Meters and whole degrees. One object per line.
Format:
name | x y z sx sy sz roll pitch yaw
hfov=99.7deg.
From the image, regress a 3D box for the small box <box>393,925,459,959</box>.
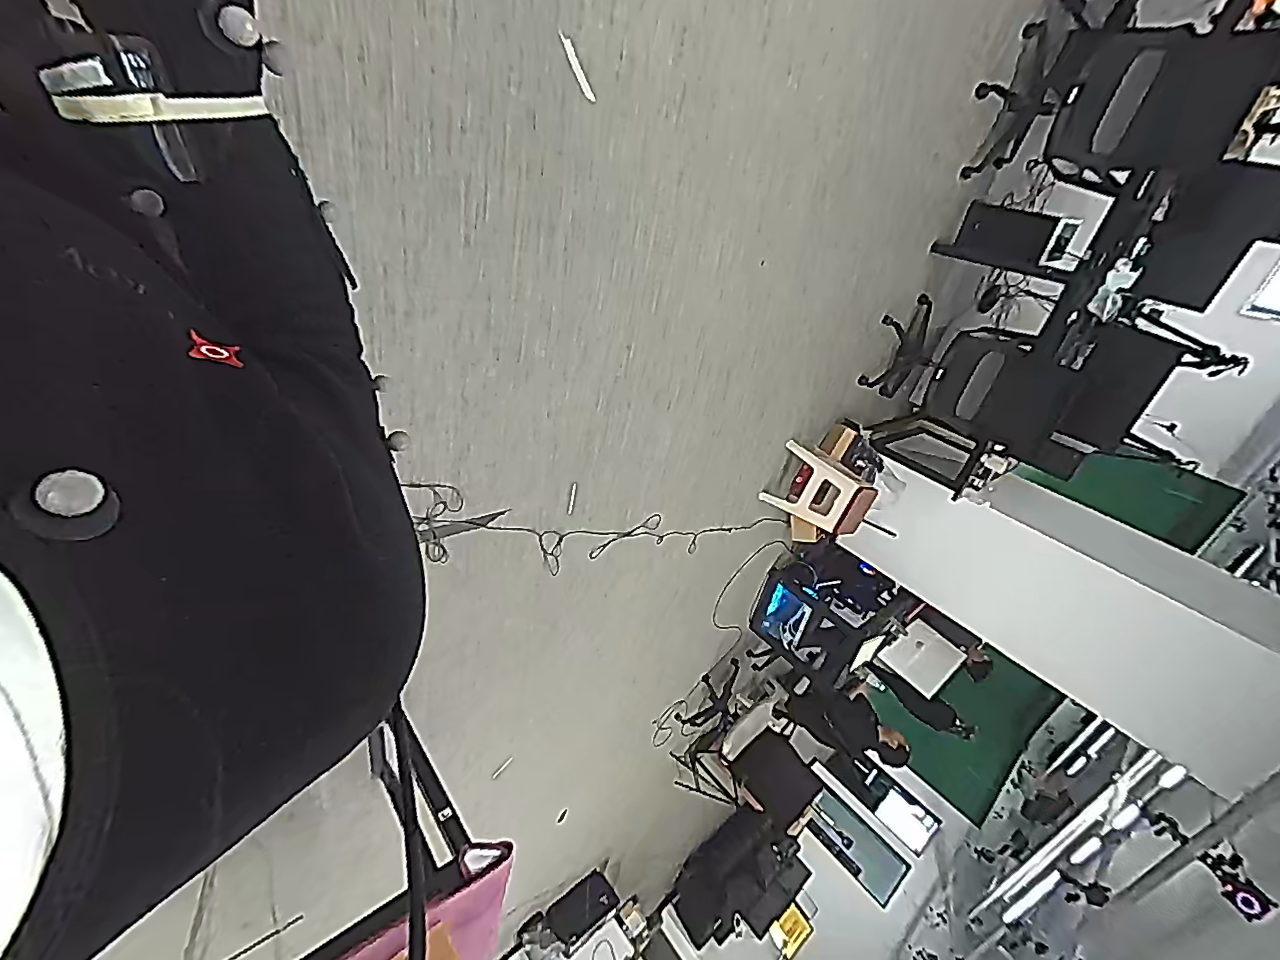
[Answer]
small box | -0.560 1.333 1.423 0.168 0.176 0.179 -22 133 -35
